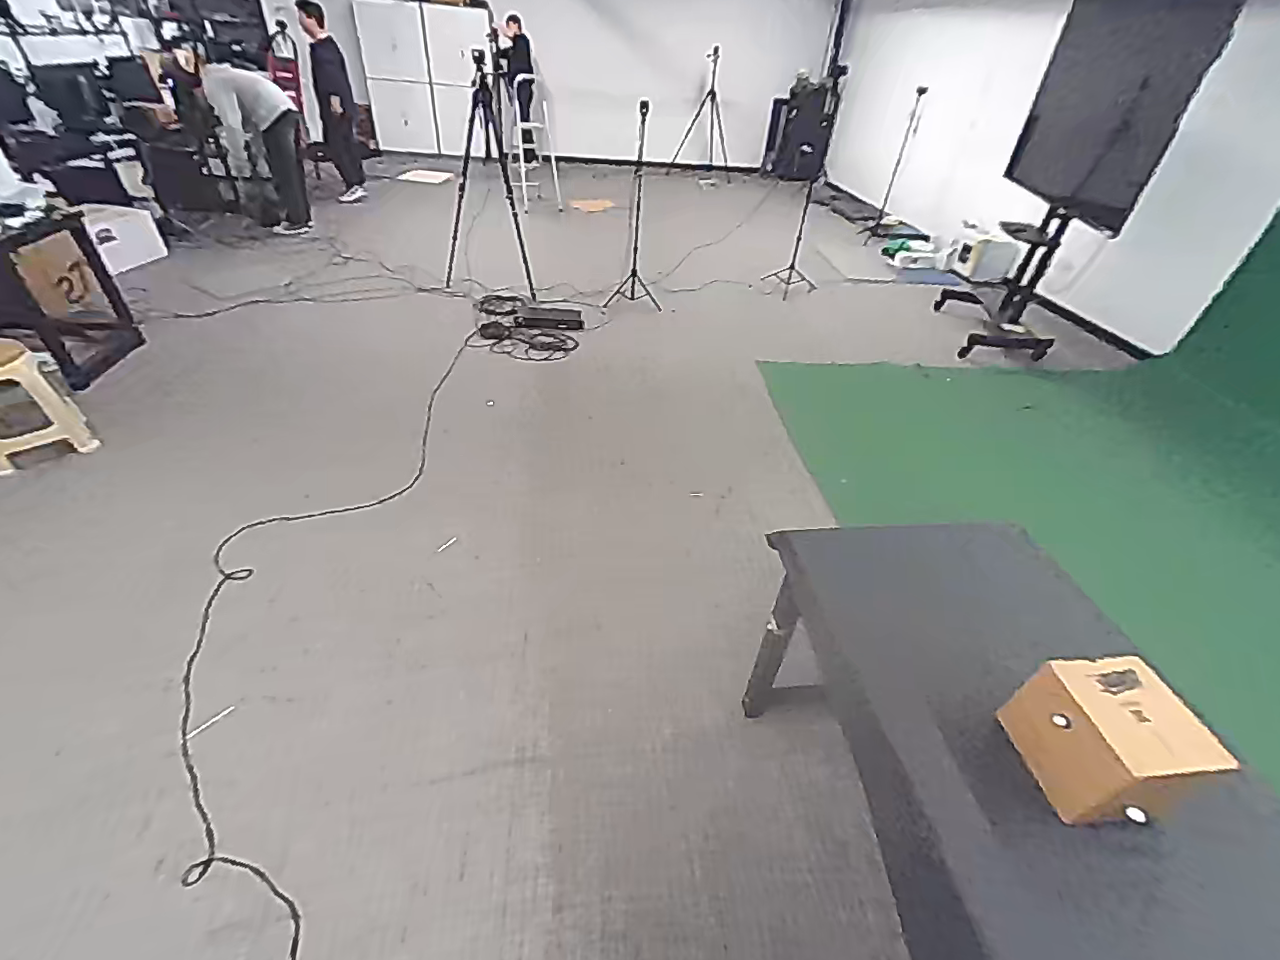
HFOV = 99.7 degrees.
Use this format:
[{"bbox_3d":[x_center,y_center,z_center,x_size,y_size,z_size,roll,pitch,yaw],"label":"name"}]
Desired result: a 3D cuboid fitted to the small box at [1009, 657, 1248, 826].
[{"bbox_3d":[0.717,0.396,0.825,0.168,0.176,0.179,-1,40,-7],"label":"small box"}]
